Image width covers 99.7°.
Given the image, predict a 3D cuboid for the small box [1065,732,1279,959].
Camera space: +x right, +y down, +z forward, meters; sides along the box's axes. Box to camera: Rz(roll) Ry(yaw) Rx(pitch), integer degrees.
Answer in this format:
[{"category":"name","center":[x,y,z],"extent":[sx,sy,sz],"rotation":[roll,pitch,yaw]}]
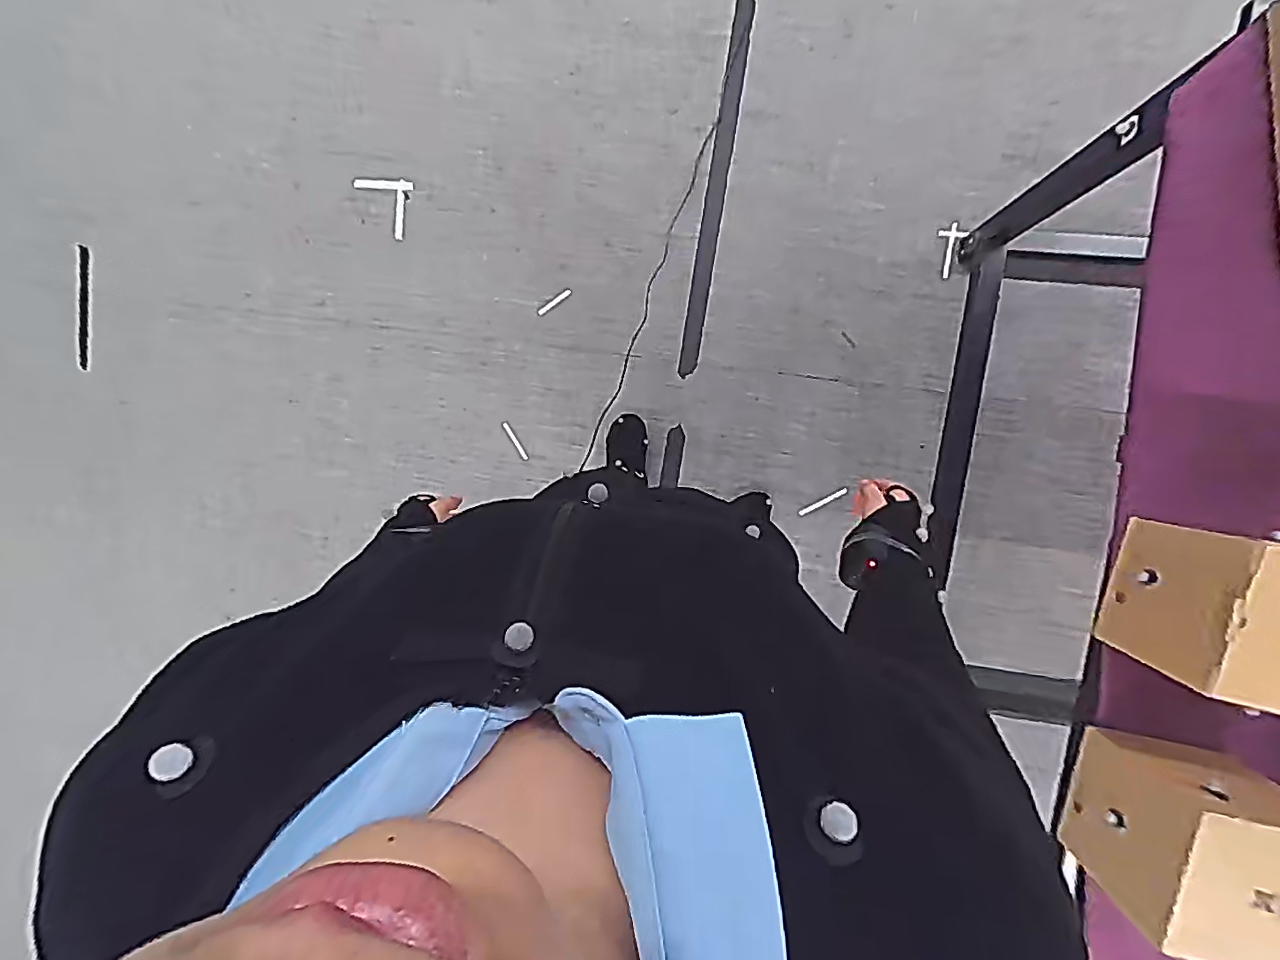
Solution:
[{"category":"small box","center":[0.651,0.422,0.628],"extent":[0.179,0.176,0.168],"rotation":[11,96,4]}]

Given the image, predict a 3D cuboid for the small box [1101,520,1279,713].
[{"category":"small box","center":[0.684,0.149,0.603],"extent":[0.179,0.176,0.168],"rotation":[13,96,6]}]
